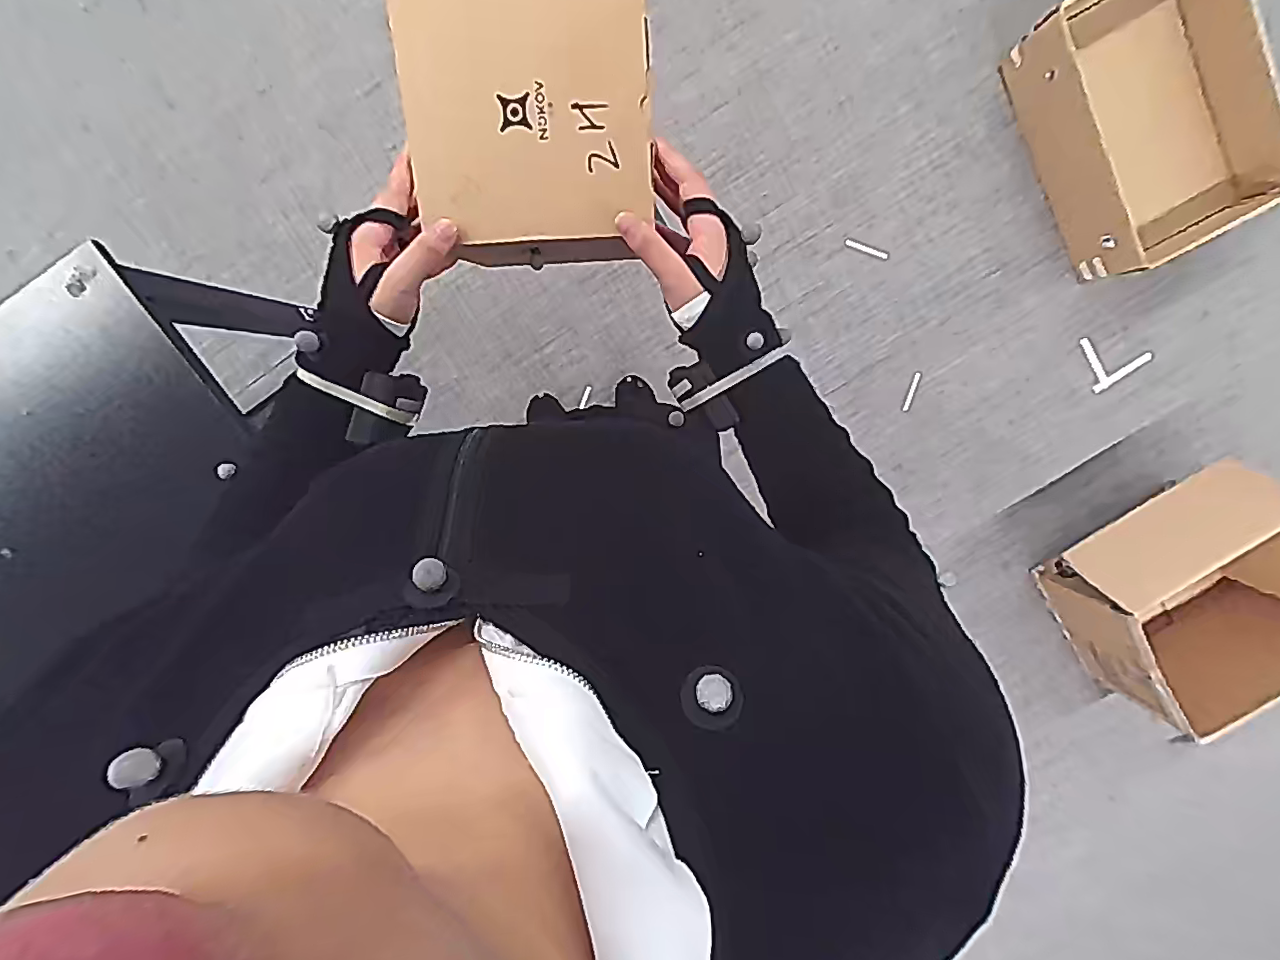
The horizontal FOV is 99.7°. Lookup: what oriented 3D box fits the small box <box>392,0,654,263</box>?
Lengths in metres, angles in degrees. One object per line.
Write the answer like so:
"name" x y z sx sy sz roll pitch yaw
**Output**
"small box" -0.078 -0.283 0.462 0.179 0.176 0.168 -3 107 1
